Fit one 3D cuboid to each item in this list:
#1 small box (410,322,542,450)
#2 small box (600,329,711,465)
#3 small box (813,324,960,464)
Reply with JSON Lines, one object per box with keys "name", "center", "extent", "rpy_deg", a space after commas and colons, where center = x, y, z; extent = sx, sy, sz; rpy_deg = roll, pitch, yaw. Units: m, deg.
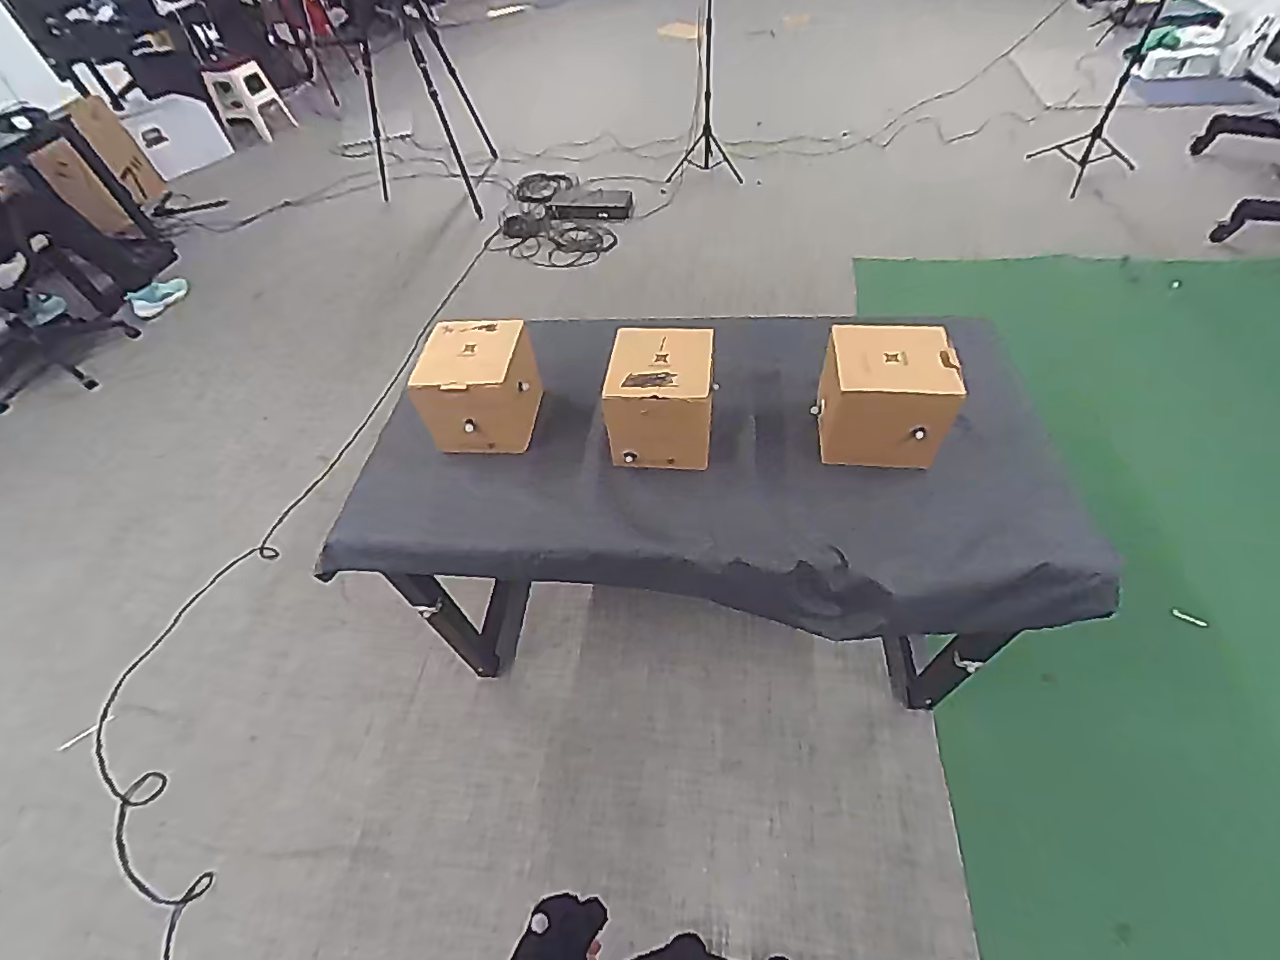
{"name": "small box", "center": [-0.288, -0.169, 0.999], "extent": [0.168, 0.176, 0.179], "rpy_deg": [0, 53, 6]}
{"name": "small box", "center": [0.036, -0.142, 0.941], "extent": [0.168, 0.176, 0.179], "rpy_deg": [3, 51, 8]}
{"name": "small box", "center": [0.395, -0.139, 0.901], "extent": [0.179, 0.176, 0.168], "rpy_deg": [1, 51, 10]}
